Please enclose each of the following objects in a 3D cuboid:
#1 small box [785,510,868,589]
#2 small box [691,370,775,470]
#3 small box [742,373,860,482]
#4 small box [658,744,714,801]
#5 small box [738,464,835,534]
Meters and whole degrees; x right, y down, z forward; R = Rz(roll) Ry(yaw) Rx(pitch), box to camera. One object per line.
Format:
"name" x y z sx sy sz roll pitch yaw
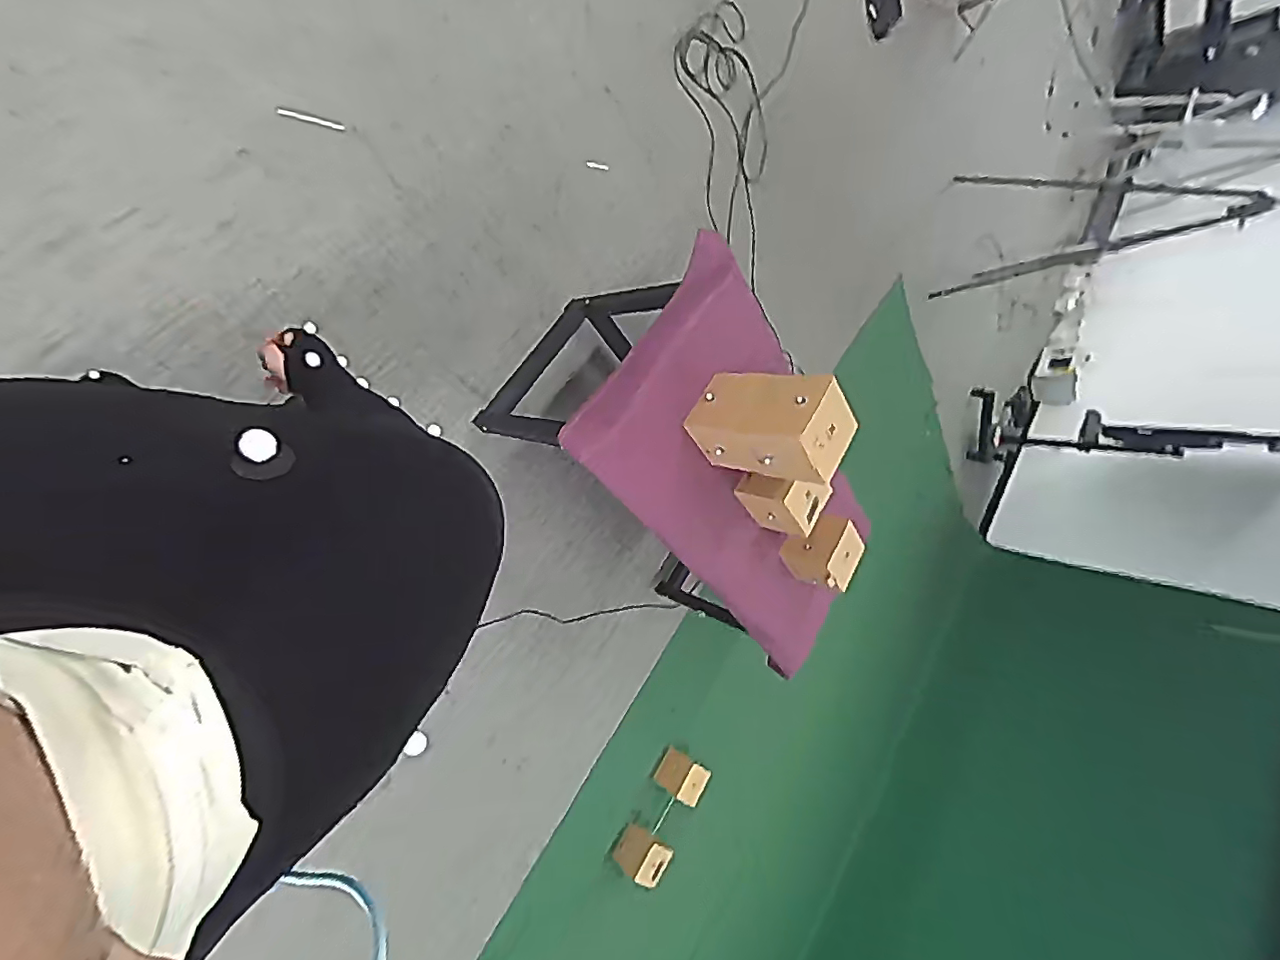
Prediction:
"small box" 0.580 0.210 1.698 0.168 0.176 0.179 48 67 -37
"small box" 0.250 -0.152 1.331 0.168 0.176 0.179 47 69 -38
"small box" 0.358 -0.123 1.210 0.168 0.176 0.179 46 69 -37
"small box" 0.216 1.402 2.600 0.179 0.176 0.168 48 67 -37
"small box" 0.406 0.022 1.505 0.179 0.176 0.168 46 68 -36
